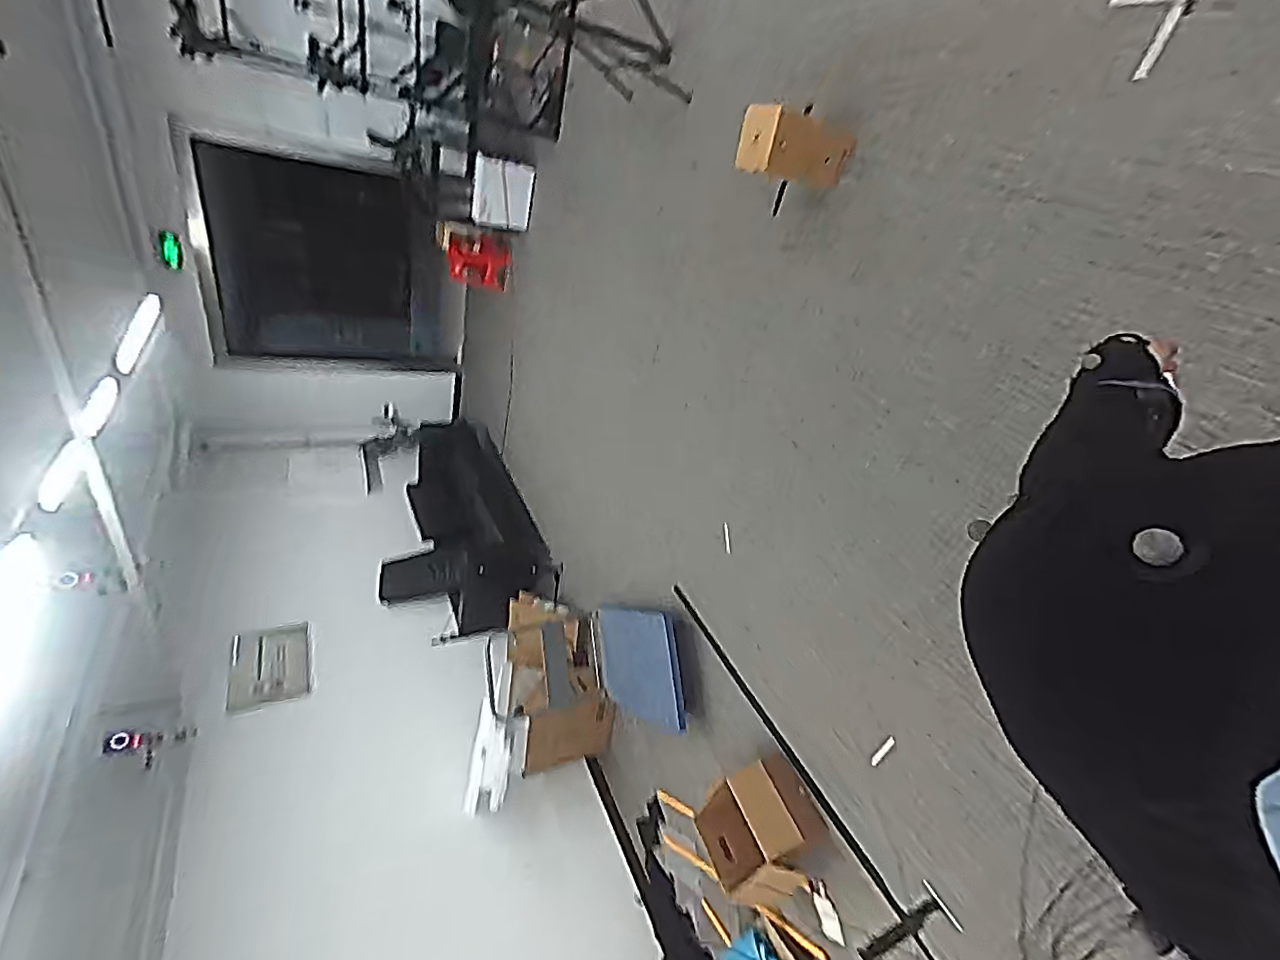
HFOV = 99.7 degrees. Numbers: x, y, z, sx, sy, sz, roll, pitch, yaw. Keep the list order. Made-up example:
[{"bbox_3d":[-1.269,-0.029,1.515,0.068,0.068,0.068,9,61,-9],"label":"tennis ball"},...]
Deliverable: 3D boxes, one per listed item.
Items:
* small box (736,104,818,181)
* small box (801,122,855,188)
[{"bbox_3d":[0.439,-1.073,1.723,0.168,0.176,0.179,46,133,48],"label":"small box"},{"bbox_3d":[0.577,-1.096,1.807,0.179,0.176,0.168,55,138,42],"label":"small box"}]
